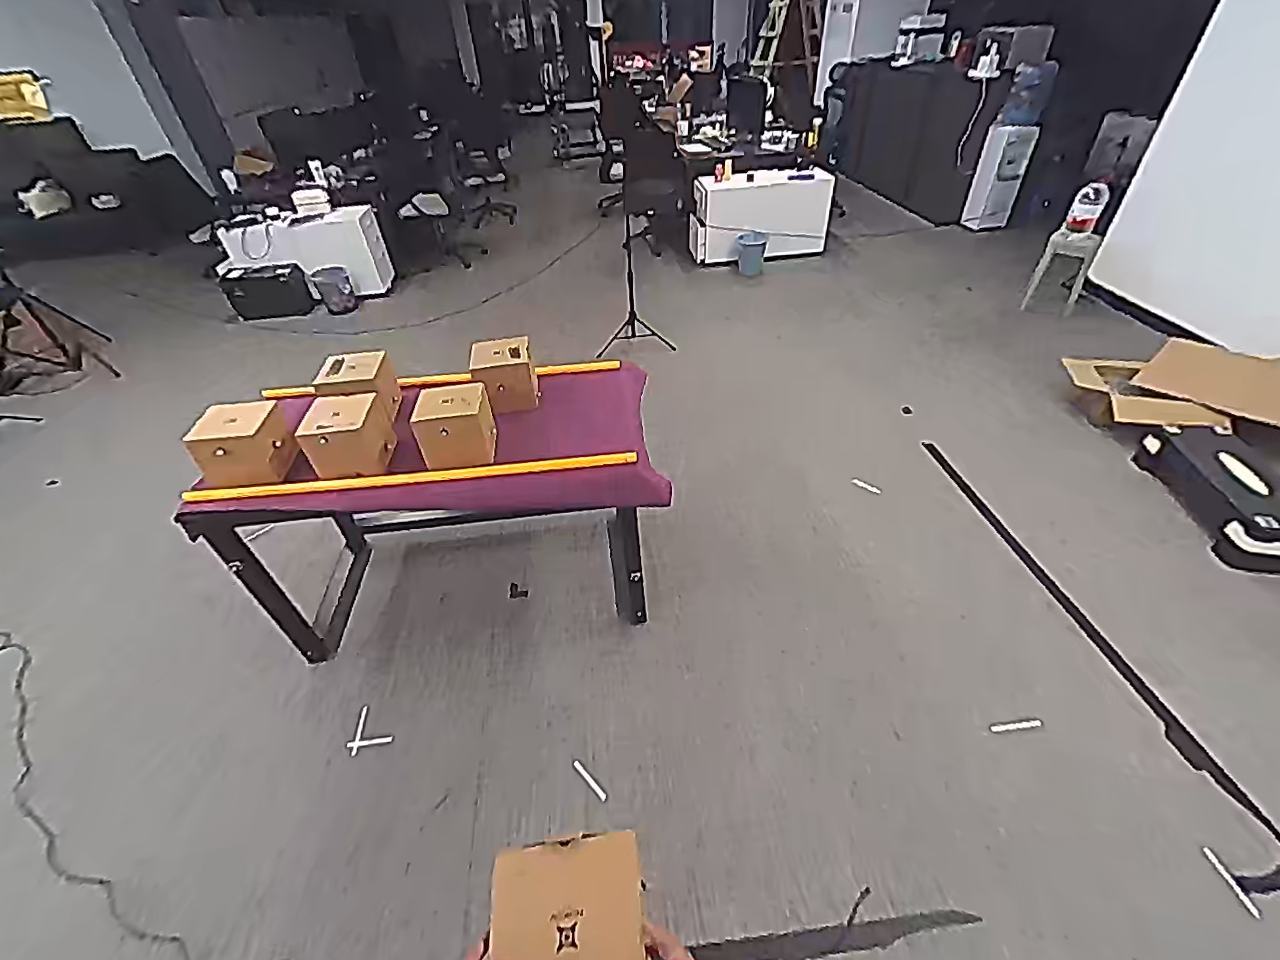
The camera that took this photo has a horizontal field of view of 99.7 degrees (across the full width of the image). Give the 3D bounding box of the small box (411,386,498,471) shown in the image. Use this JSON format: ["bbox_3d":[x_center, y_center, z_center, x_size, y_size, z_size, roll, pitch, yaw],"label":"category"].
[{"bbox_3d":[-0.502,-0.139,1.490,0.179,0.176,0.168,-7,39,-4],"label":"small box"}]

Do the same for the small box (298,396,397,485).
[{"bbox_3d":[-0.787,-0.108,1.480,0.168,0.176,0.179,-7,40,-2],"label":"small box"}]

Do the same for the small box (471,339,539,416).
[{"bbox_3d":[-0.415,-0.317,1.690,0.179,0.176,0.168,-9,42,-4],"label":"small box"}]

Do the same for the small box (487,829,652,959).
[{"bbox_3d":[-0.073,0.535,0.617,0.168,0.176,0.179,-8,41,-3],"label":"small box"}]

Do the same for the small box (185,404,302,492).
[{"bbox_3d":[-1.066,-0.086,1.476,0.179,0.176,0.168,-7,40,-3],"label":"small box"}]
